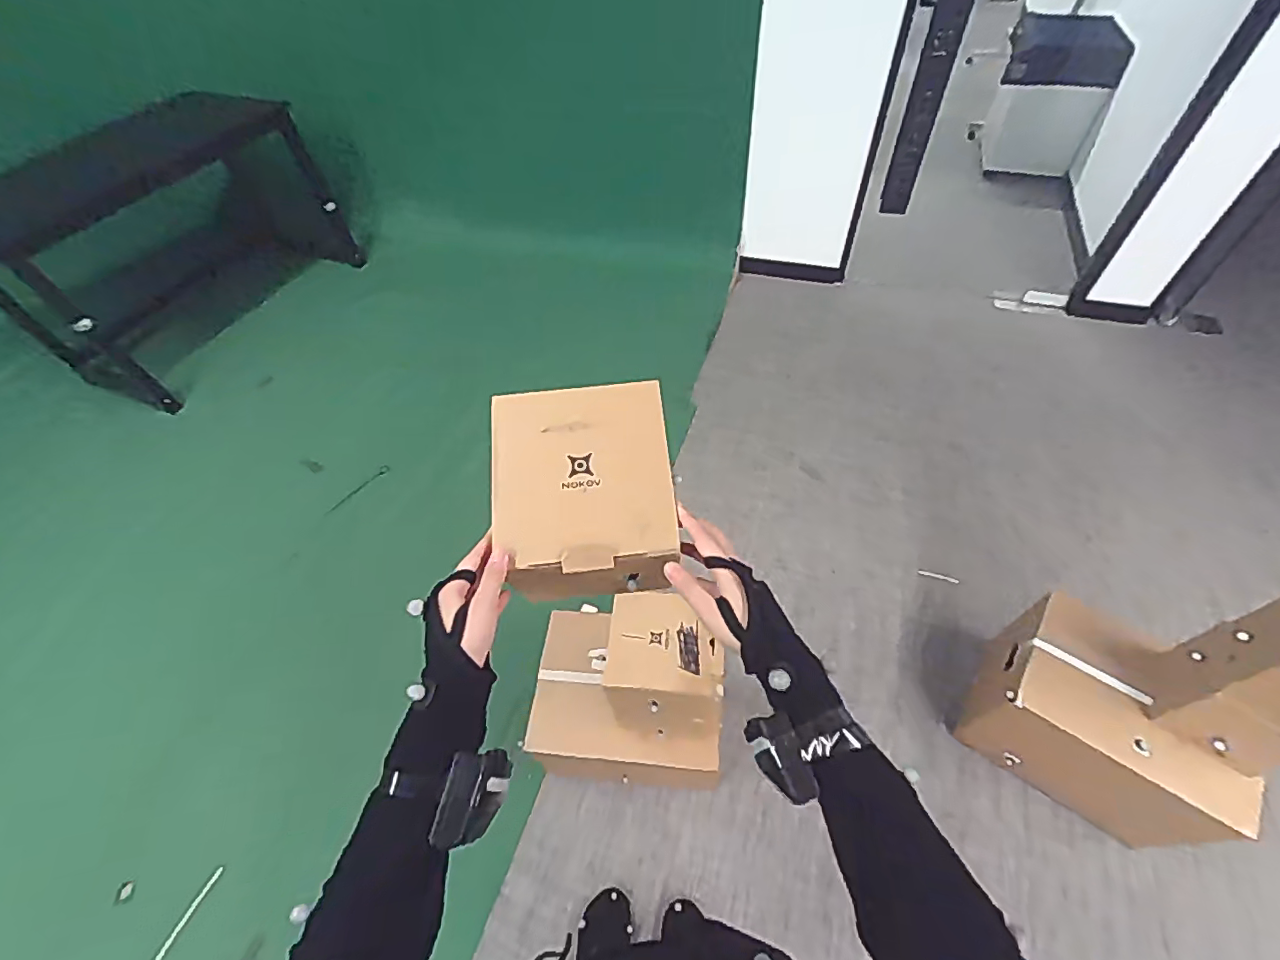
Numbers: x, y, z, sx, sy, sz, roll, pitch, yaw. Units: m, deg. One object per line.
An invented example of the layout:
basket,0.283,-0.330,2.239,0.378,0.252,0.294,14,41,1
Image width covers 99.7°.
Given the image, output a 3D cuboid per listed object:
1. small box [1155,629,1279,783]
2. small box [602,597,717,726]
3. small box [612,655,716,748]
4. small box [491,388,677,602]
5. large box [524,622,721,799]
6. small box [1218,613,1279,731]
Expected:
small box,1.108,0.417,0.995,0.168,0.176,0.179,31,59,25
small box,0.042,0.319,0.942,0.179,0.176,0.168,2,53,8
small box,0.052,0.419,1.073,0.179,0.176,0.168,6,53,9
small box,-0.052,0.027,0.567,0.168,0.176,0.179,-5,67,-2
large box,-0.015,0.551,1.286,0.408,0.320,0.320,2,51,7
small box,1.108,0.319,0.866,0.179,0.176,0.168,32,59,26
